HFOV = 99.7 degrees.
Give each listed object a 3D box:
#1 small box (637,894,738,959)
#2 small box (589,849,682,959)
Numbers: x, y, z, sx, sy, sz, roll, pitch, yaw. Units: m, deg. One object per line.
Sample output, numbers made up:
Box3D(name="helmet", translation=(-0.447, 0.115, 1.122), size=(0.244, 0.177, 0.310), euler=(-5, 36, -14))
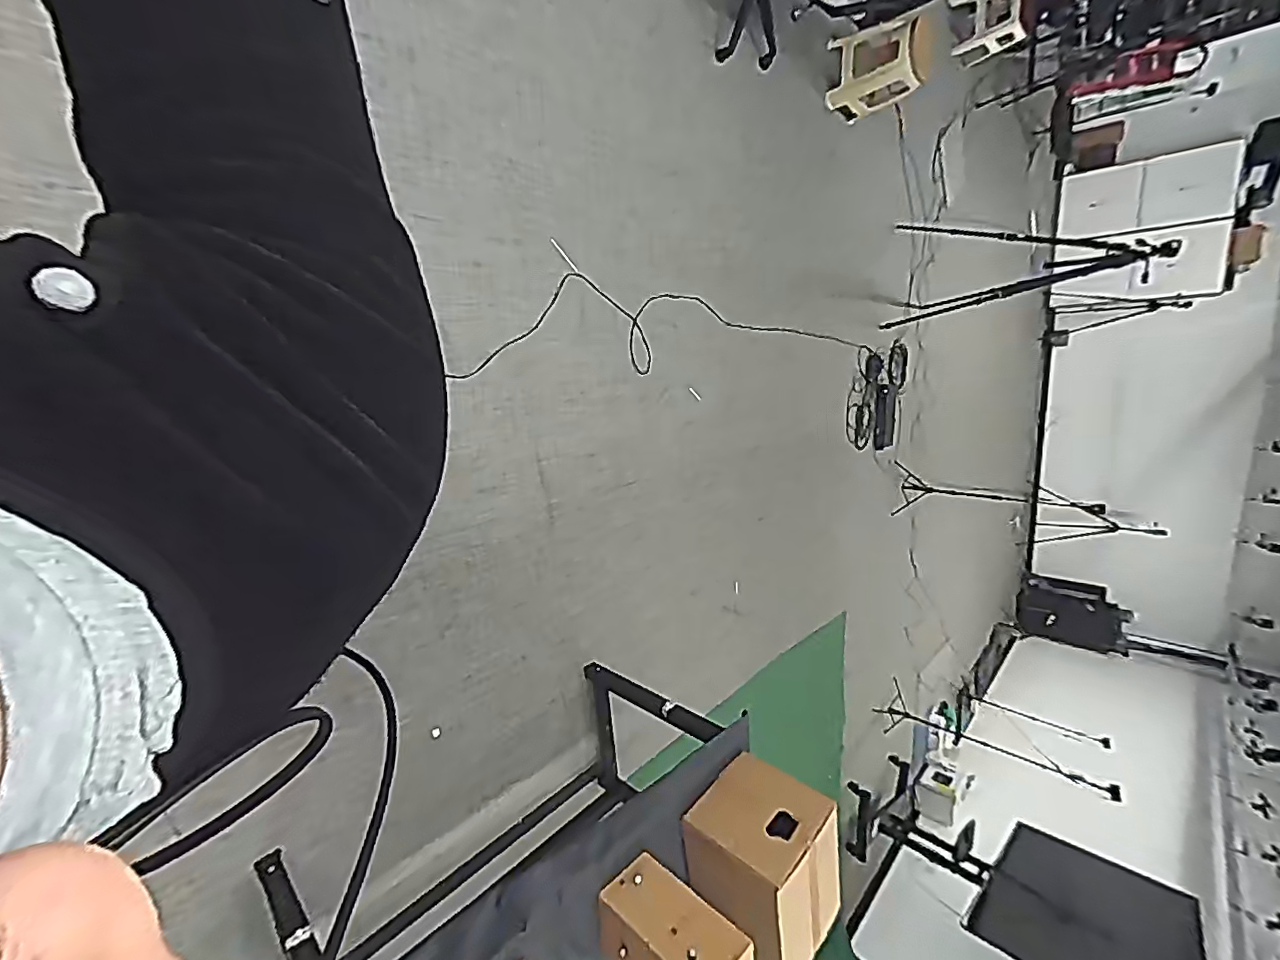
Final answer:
Box3D(name="small box", translation=(0.105, 1.099, 1.230), size=(0.168, 0.176, 0.179), euler=(-14, 108, -43))
Box3D(name="small box", translation=(-0.011, 1.075, 1.340), size=(0.168, 0.176, 0.179), euler=(-13, 106, -45))
